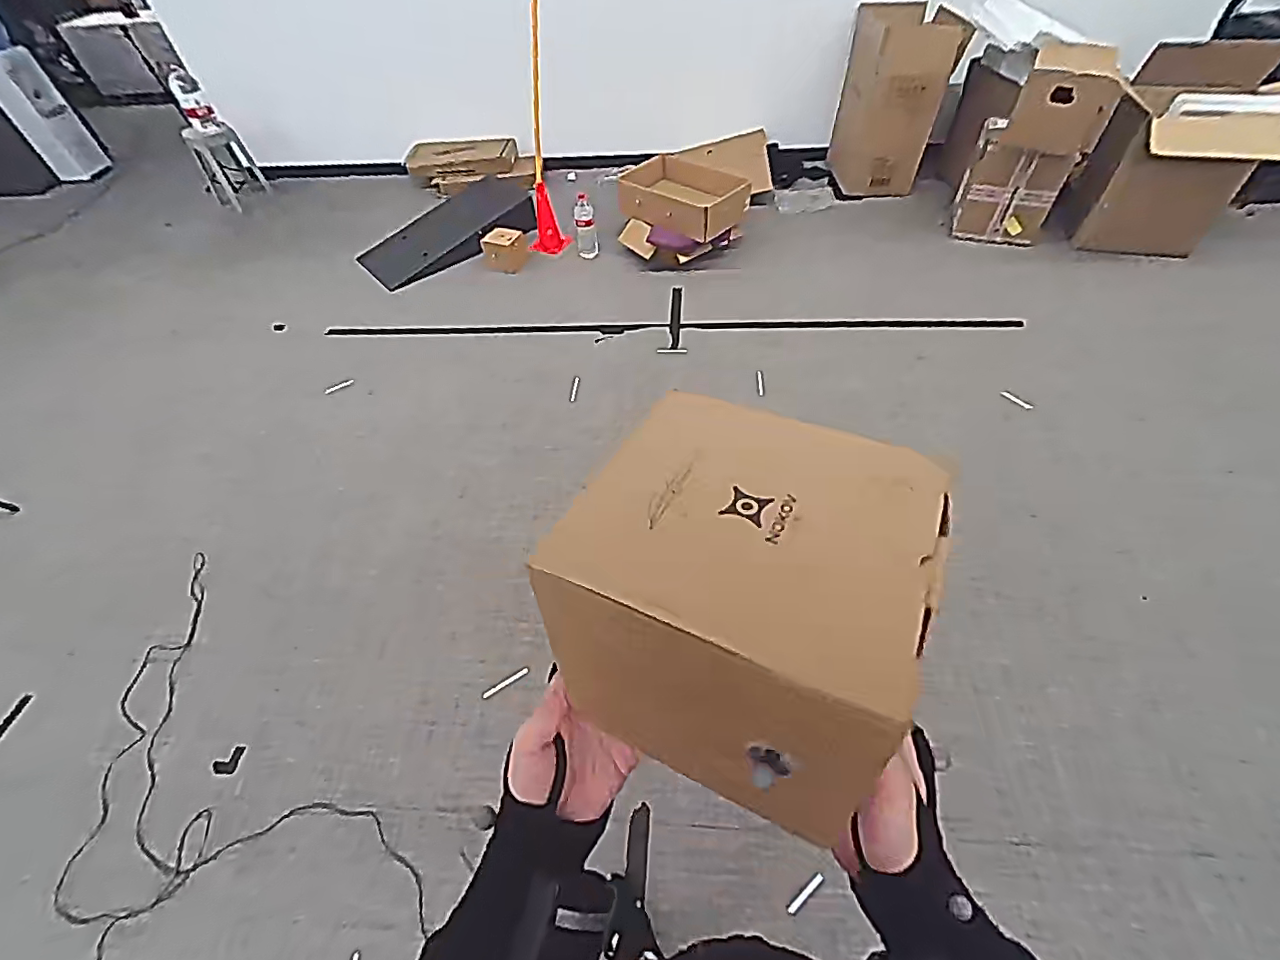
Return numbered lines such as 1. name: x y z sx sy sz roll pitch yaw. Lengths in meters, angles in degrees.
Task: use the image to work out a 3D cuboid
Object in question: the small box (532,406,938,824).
1. small box: 0.062 0.082 0.342 0.179 0.176 0.168 16 45 21
